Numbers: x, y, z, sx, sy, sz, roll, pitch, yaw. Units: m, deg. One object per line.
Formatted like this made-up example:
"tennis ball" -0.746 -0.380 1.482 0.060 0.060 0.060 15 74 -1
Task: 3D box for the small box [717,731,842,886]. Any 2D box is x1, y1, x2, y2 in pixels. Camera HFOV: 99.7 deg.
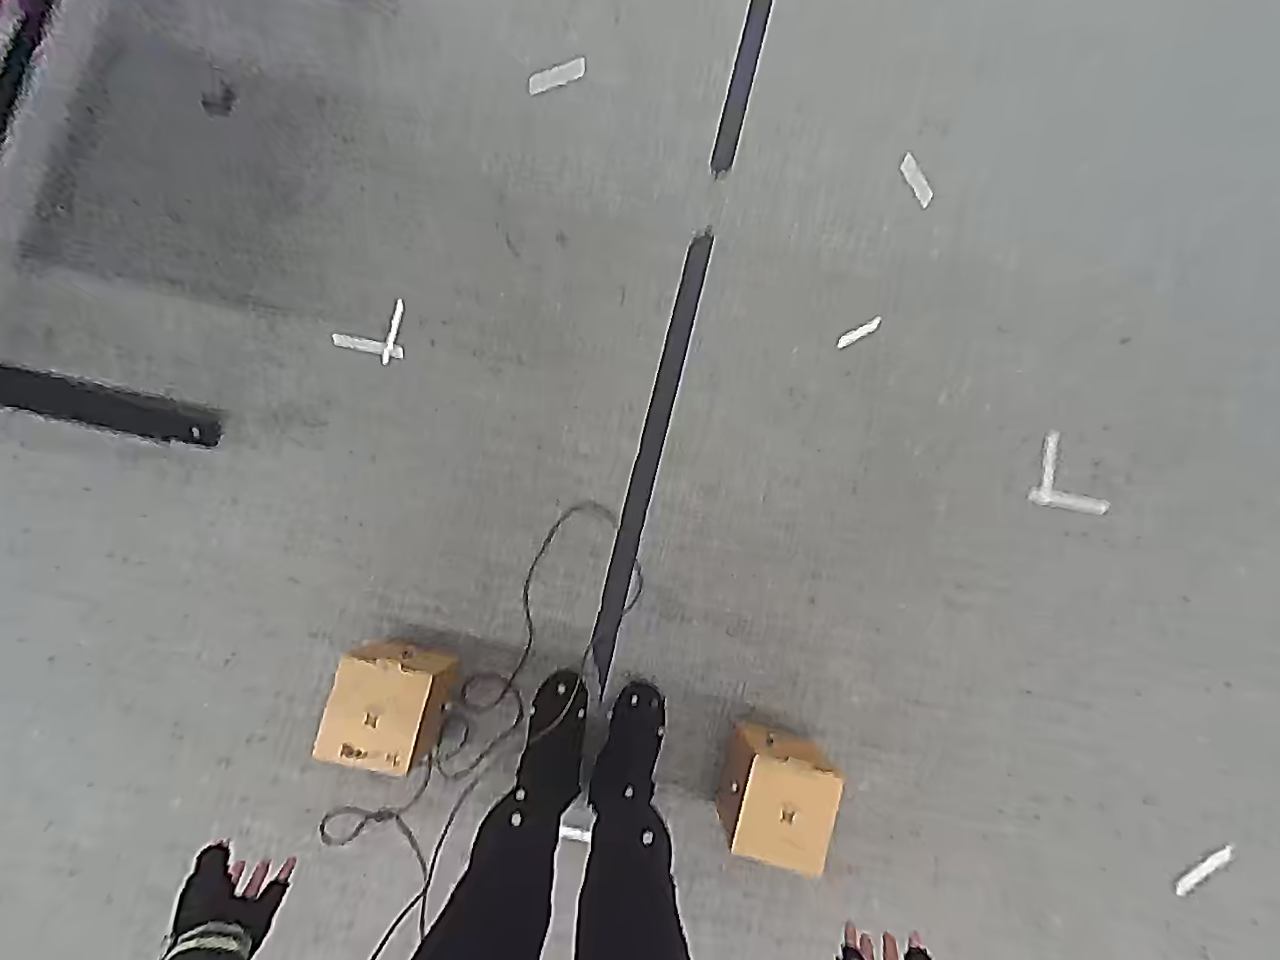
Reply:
"small box" 0.250 0.596 1.009 0.168 0.176 0.179 16 84 1

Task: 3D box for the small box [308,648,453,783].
"small box" -0.463 0.422 0.999 0.168 0.176 0.179 14 80 -1
